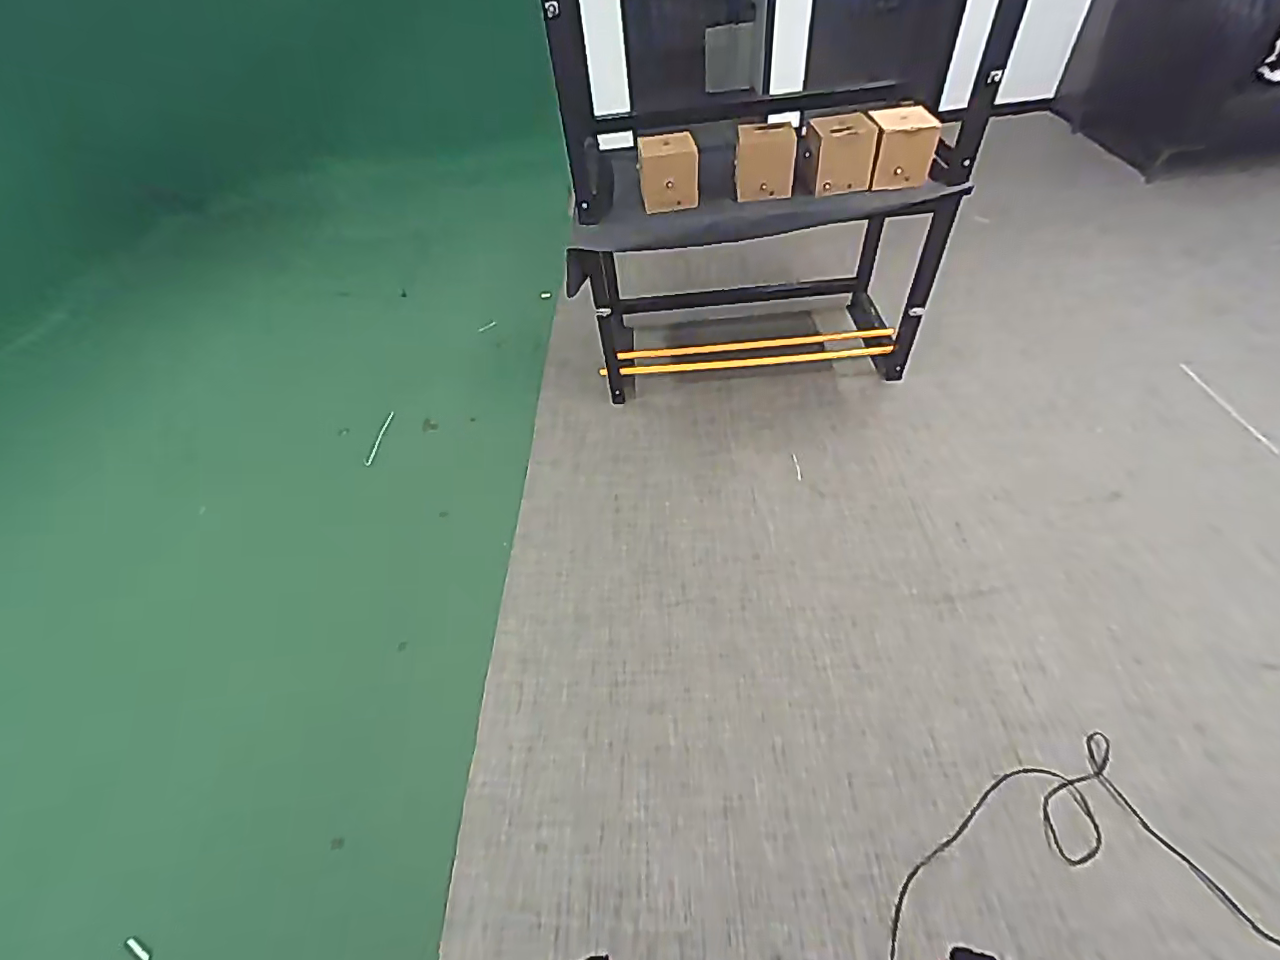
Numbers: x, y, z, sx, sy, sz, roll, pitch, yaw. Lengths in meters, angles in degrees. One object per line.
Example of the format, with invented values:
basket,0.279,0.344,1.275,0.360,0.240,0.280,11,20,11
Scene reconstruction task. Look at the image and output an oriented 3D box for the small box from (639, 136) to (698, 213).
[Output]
small box,0.091,-0.963,1.717,0.168,0.176,0.179,-7,48,0
